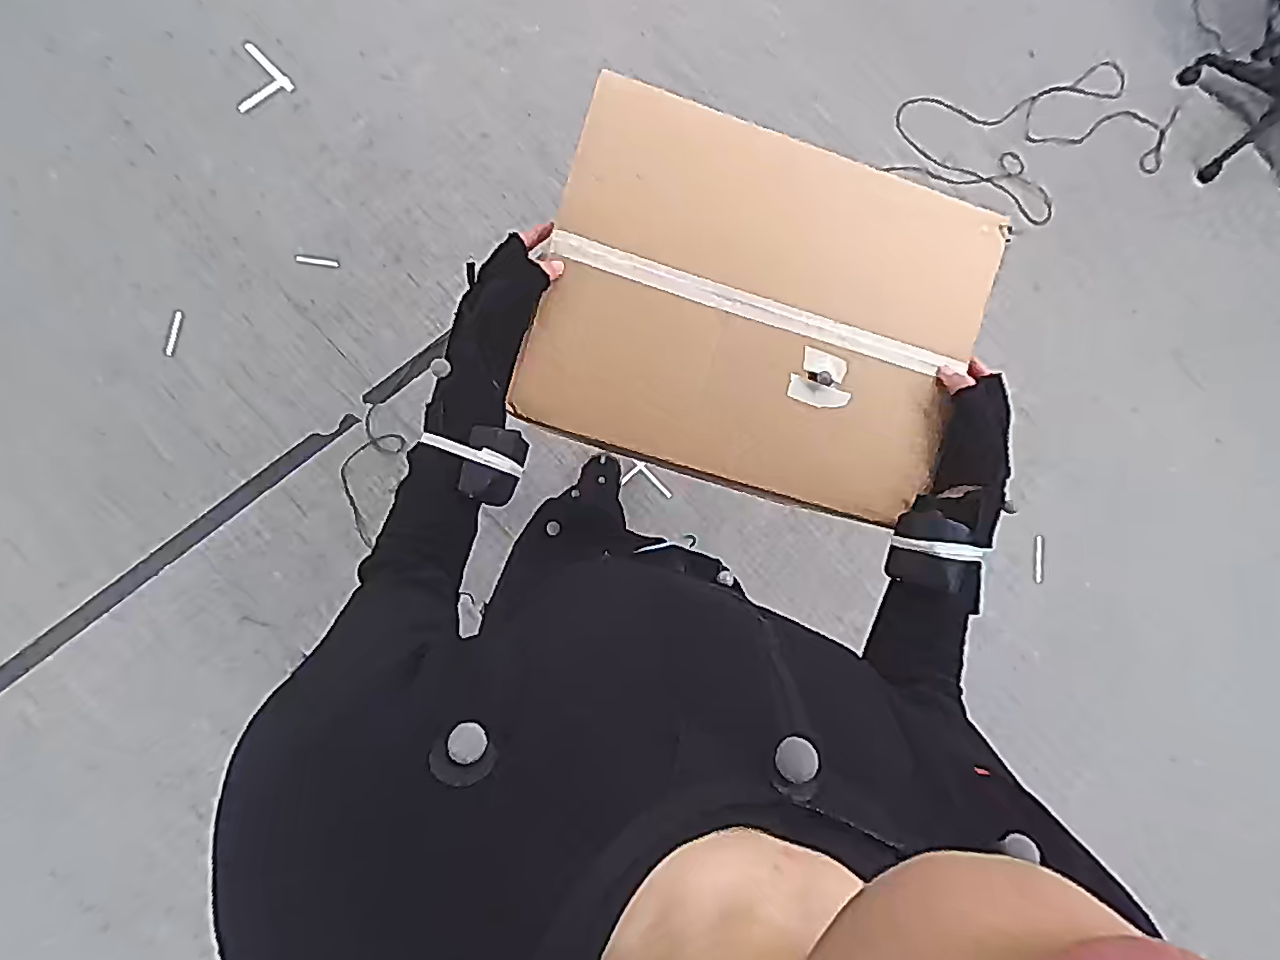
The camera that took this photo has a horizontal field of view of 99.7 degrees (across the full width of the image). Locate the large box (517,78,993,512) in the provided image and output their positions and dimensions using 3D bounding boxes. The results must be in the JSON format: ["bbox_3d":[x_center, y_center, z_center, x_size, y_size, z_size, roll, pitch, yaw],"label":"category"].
[{"bbox_3d":[0.099,-0.173,0.656,0.408,0.320,0.320,17,92,-6],"label":"large box"}]
